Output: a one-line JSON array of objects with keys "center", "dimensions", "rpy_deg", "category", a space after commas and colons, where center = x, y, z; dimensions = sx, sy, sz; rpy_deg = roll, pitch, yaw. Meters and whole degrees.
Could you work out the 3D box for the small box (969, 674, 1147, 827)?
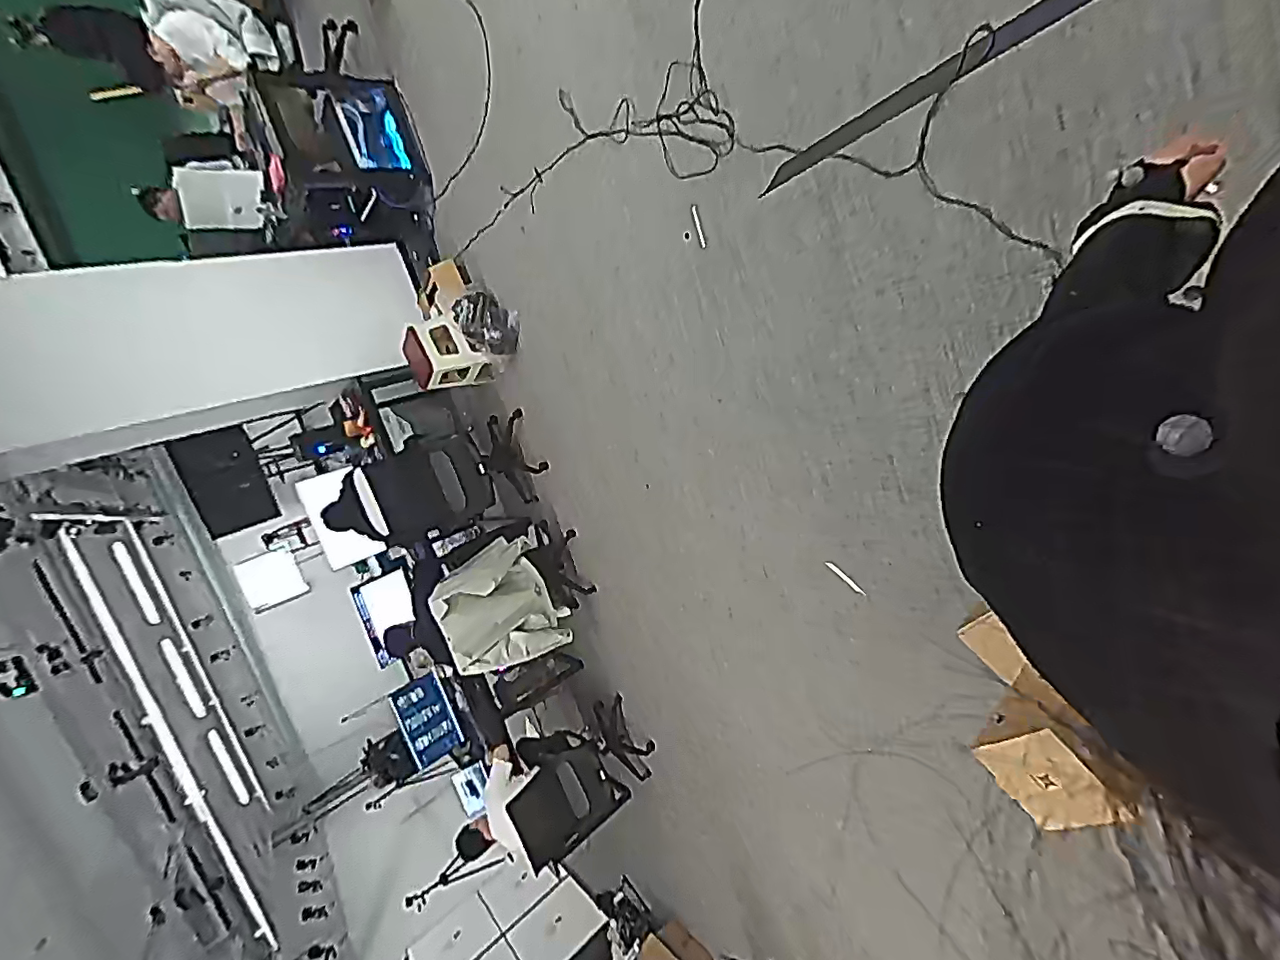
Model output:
[{"center": [0.755, 0.486, 0.978], "dimensions": [0.168, 0.176, 0.179], "rpy_deg": [50, 142, 19], "category": "small box"}]
